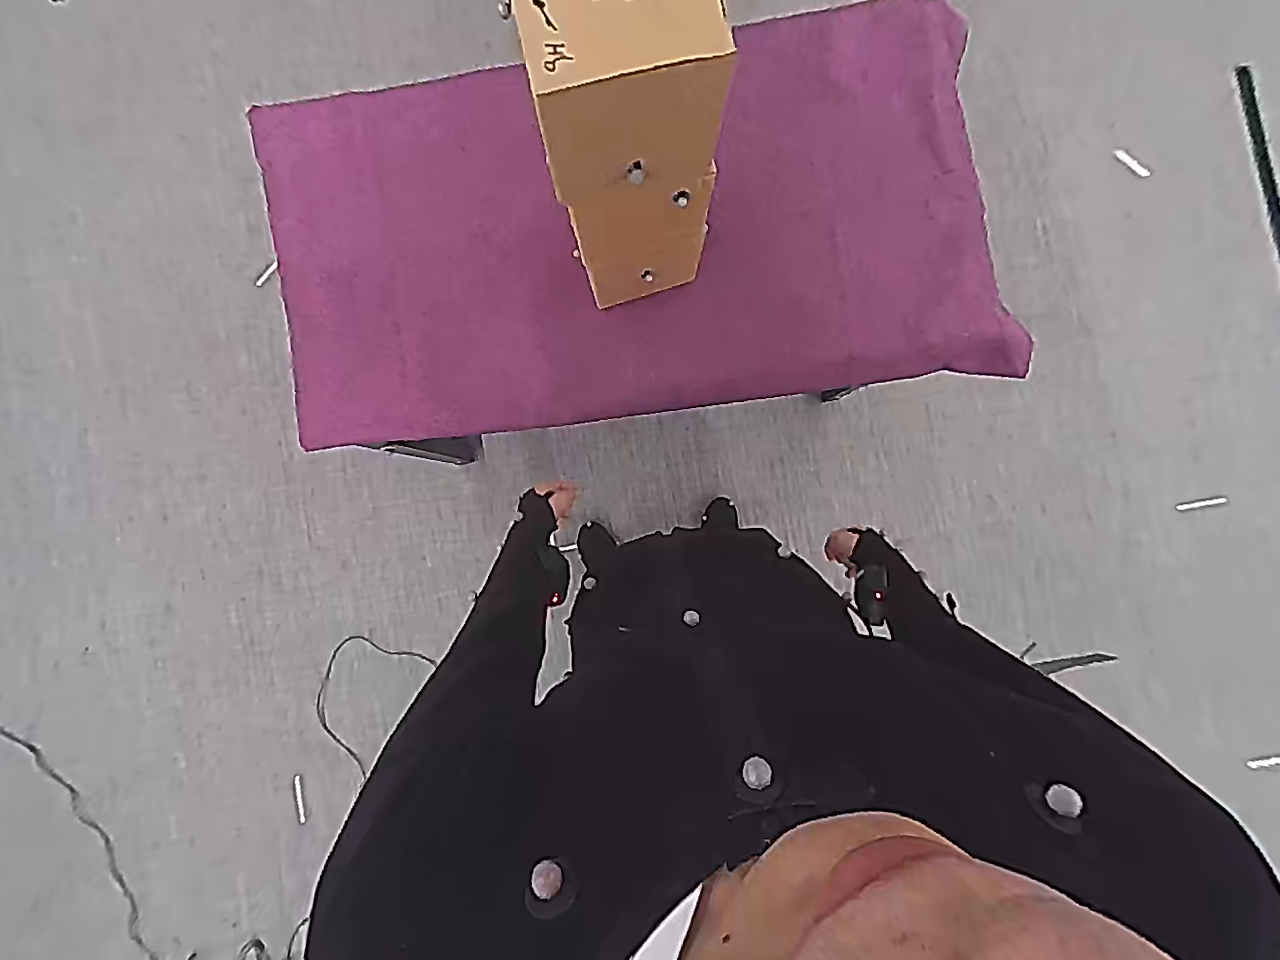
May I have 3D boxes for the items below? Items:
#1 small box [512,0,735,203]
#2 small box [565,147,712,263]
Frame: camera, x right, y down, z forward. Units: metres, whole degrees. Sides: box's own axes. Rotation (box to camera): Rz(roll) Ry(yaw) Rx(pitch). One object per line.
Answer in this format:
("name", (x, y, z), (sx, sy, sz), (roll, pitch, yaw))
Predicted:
("small box", (-0.023, -0.408, 0.534), (0.179, 0.176, 0.168), (-13, 87, -2))
("small box", (-0.018, -0.404, 0.699), (0.179, 0.176, 0.168), (-13, 88, -2))
